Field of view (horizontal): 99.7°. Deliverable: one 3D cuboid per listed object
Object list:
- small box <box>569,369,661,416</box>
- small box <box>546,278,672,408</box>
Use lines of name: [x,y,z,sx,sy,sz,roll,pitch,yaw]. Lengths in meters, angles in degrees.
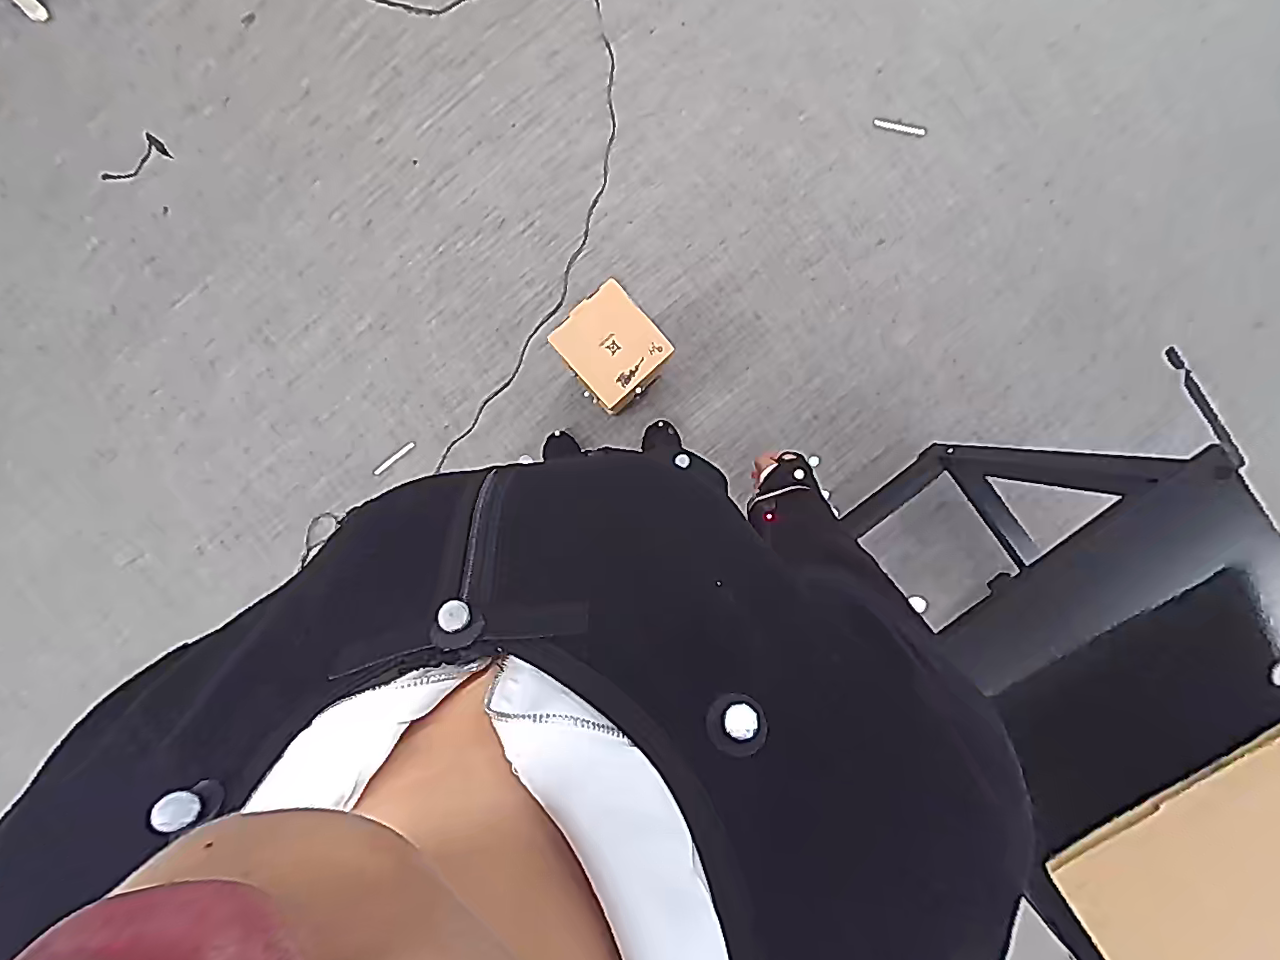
small box: [-0.067,-0.282,1.388,0.179,0.176,0.168,-42,94,4]
small box: [-0.058,-0.256,1.063,0.168,0.176,0.179,-42,95,3]
